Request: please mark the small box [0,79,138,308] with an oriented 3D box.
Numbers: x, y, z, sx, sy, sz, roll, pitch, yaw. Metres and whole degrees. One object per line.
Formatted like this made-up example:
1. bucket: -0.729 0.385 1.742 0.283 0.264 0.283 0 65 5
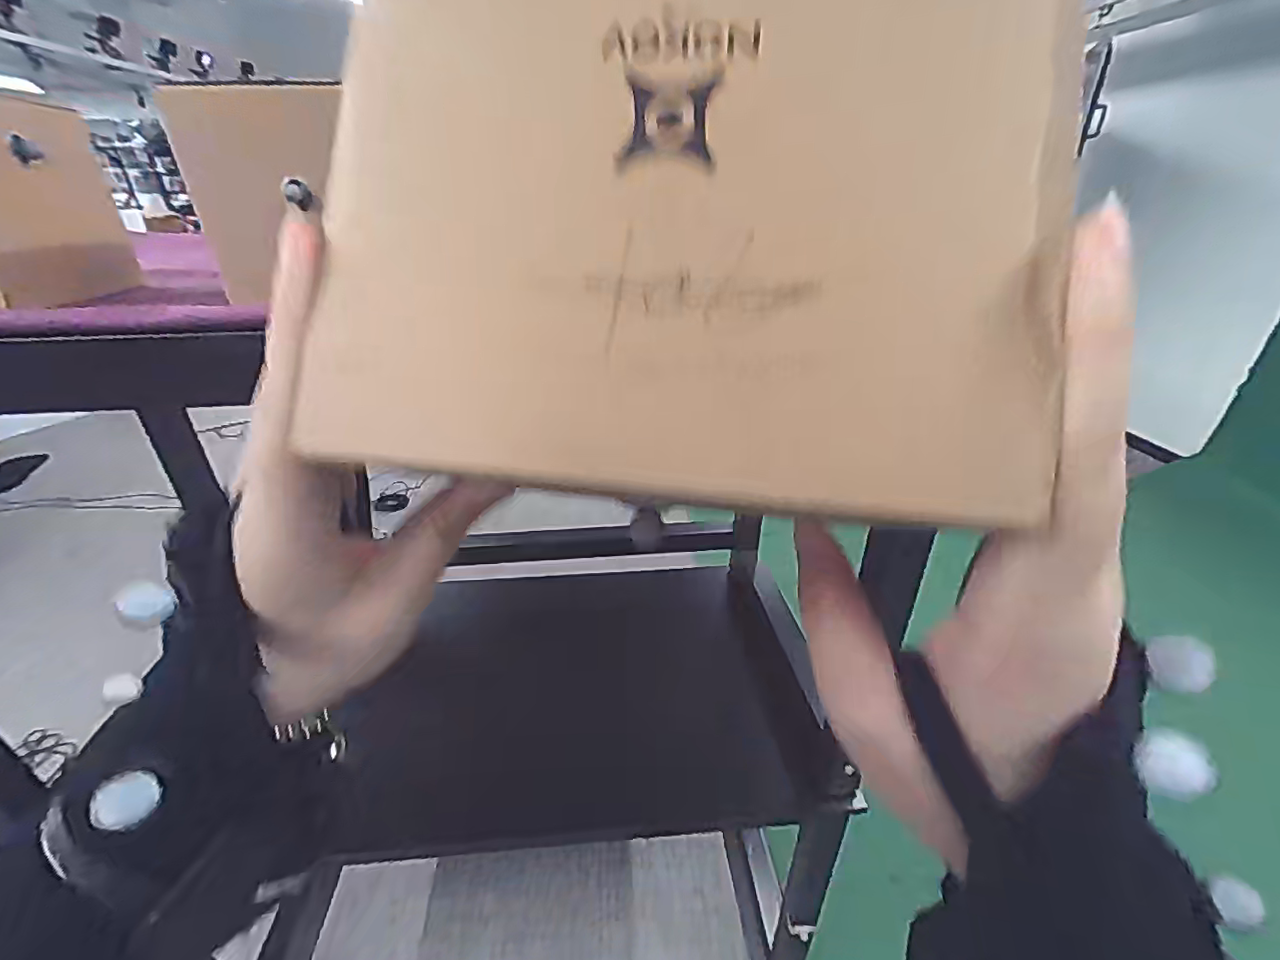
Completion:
1. small box: -0.606 -0.255 0.479 0.168 0.176 0.179 -4 28 -8
